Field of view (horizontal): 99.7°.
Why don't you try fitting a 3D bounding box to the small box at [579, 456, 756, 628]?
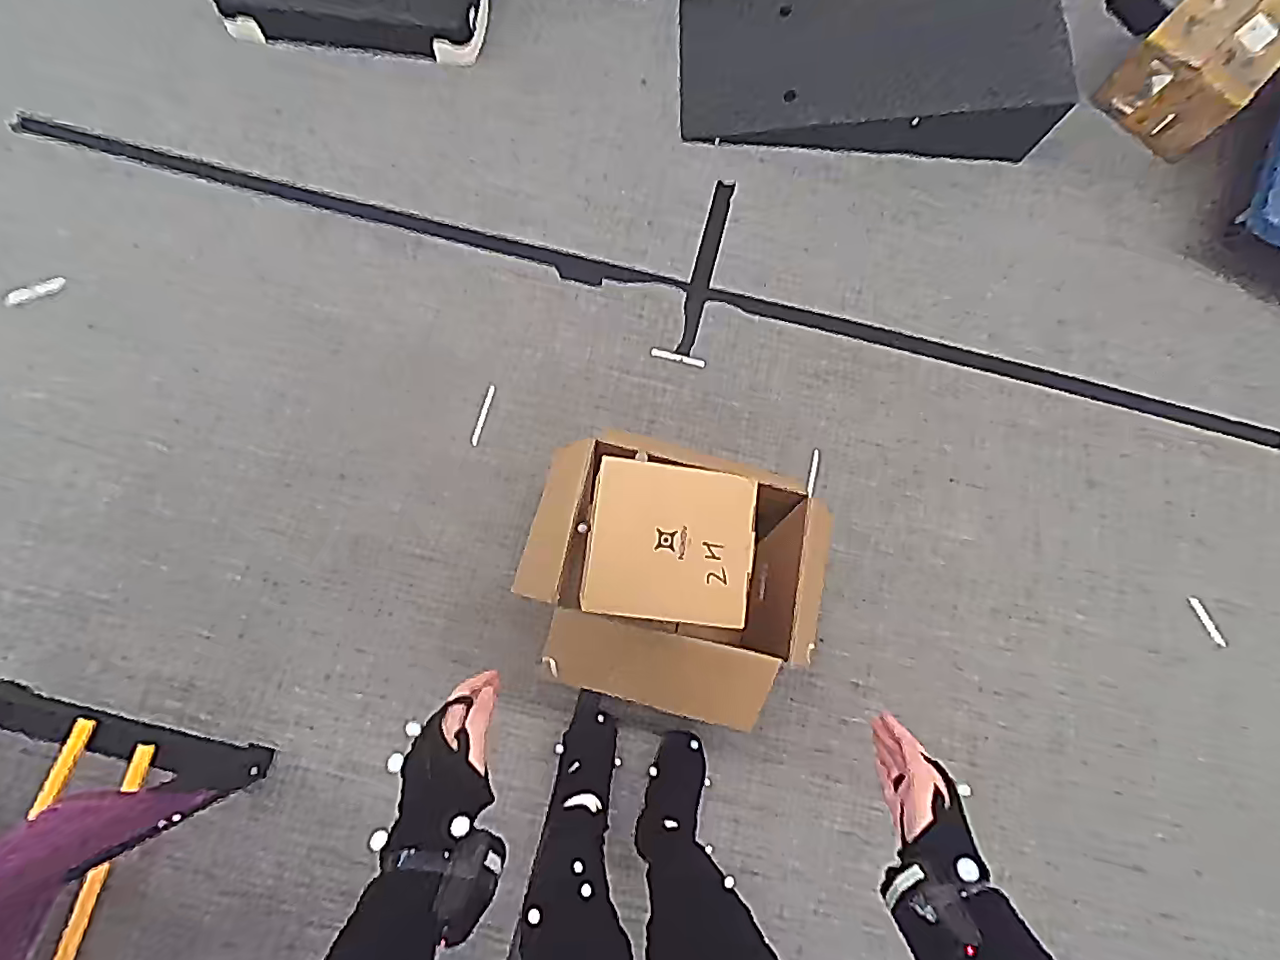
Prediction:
[{"bbox_3d":[0.024,0.077,0.656,0.179,0.176,0.168,8,82,-6],"label":"small box"}]
